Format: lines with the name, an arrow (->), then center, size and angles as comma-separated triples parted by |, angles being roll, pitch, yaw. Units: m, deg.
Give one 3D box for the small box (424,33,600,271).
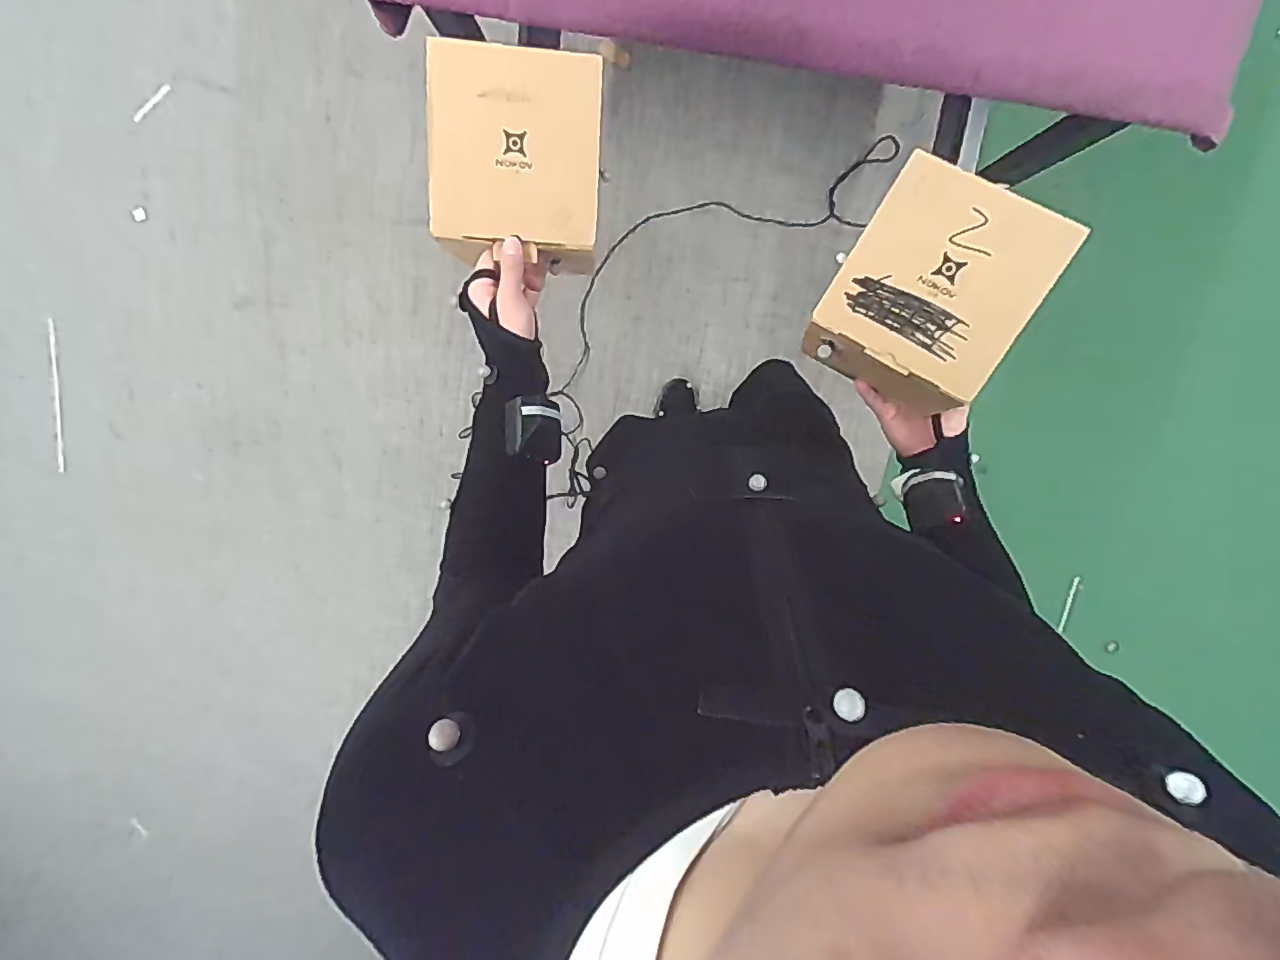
small box -> -0.131, -0.340, 0.601 | 0.168, 0.176, 0.179 | 3, 101, -6
